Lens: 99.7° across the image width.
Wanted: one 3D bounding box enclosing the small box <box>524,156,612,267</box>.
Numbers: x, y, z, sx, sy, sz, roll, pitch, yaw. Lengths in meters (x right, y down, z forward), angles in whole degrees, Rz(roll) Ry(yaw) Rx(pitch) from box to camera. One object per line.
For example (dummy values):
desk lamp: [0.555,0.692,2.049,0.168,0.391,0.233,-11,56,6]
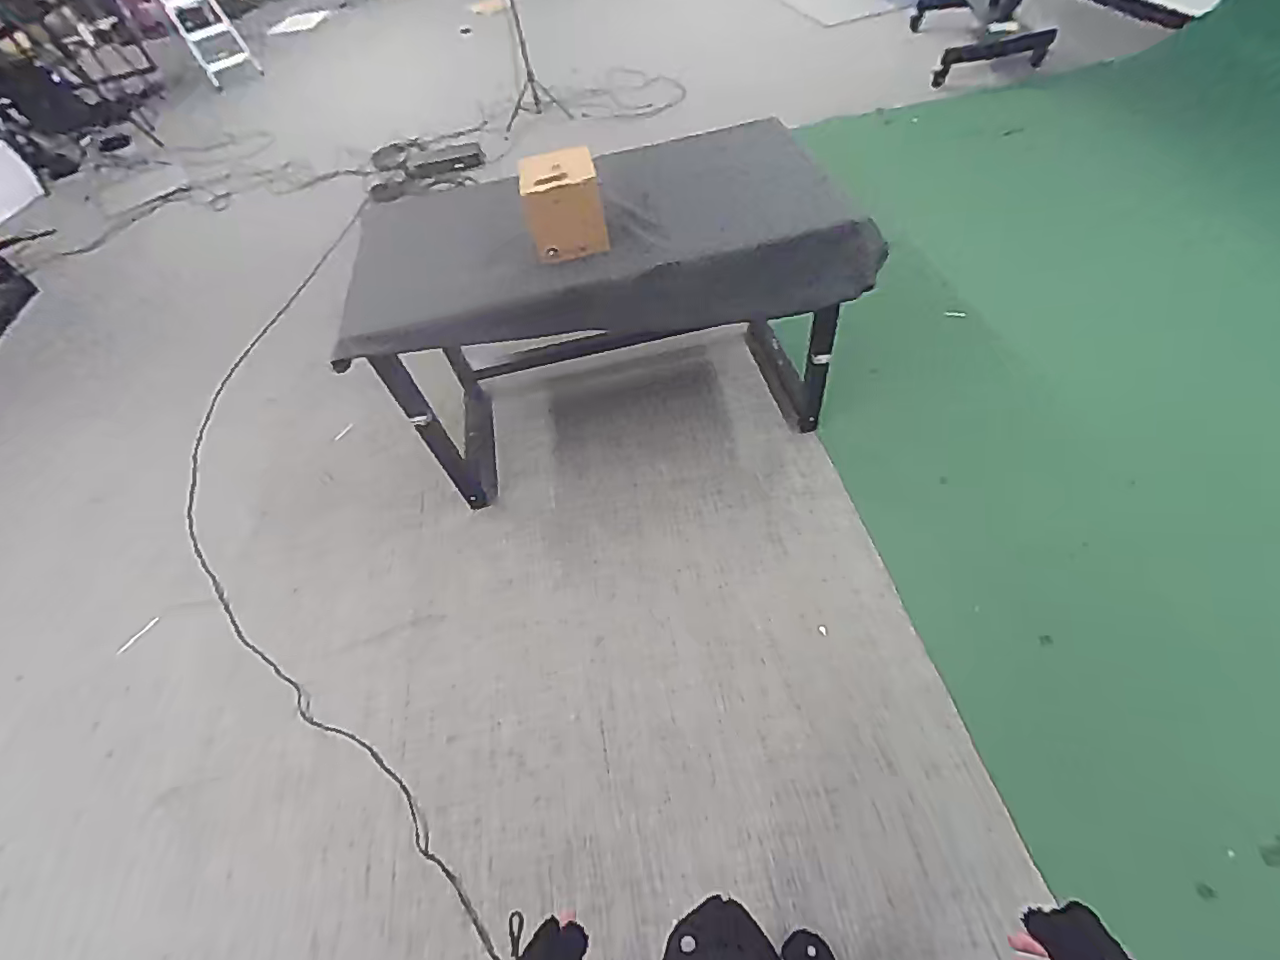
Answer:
small box: [-0.165,-0.618,1.260,0.168,0.176,0.179,-12,51,0]
